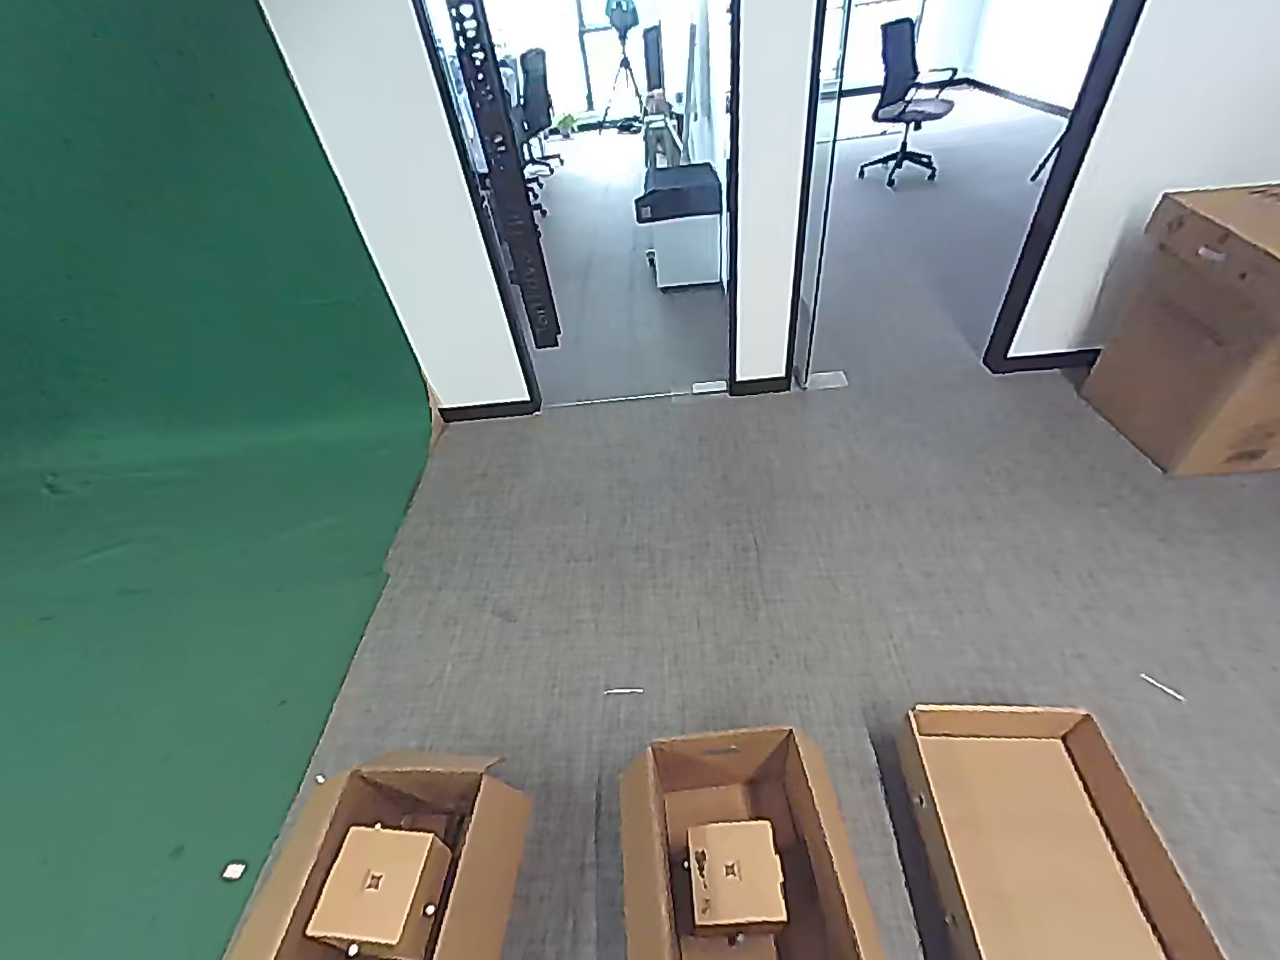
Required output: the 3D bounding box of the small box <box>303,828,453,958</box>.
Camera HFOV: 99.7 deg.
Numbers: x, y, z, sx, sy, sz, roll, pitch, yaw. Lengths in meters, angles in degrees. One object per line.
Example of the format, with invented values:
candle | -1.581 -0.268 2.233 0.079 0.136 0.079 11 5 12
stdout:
small box | -0.484 0.790 1.034 0.179 0.176 0.168 0 42 7
